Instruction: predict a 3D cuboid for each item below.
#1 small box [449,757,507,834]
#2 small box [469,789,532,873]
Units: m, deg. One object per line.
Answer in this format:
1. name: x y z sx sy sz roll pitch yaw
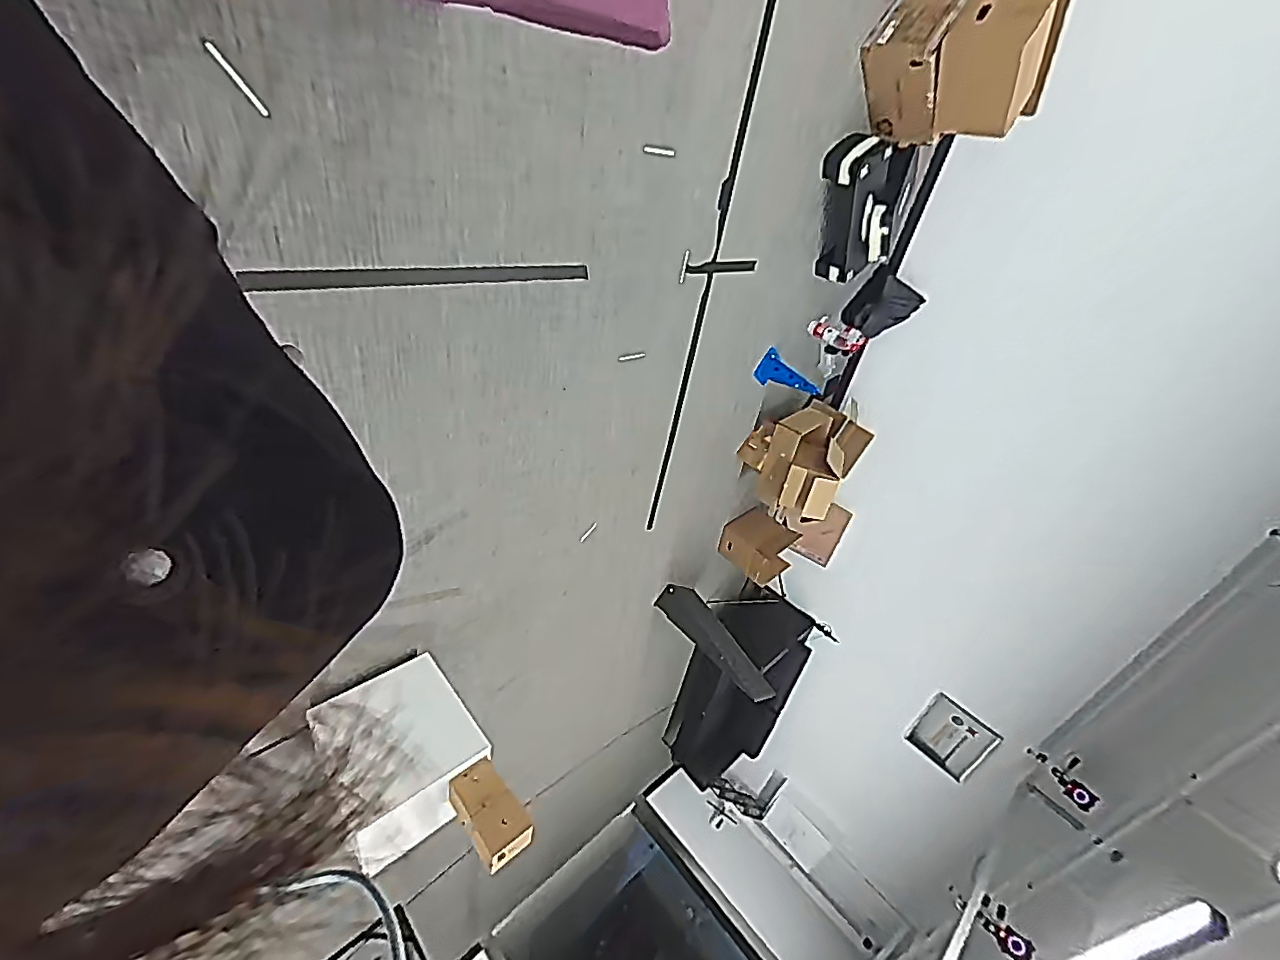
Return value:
1. small box: -0.647 1.248 2.150 0.168 0.176 0.179 -21 137 -39
2. small box: -0.536 1.331 2.060 0.179 0.176 0.168 -21 138 -40
